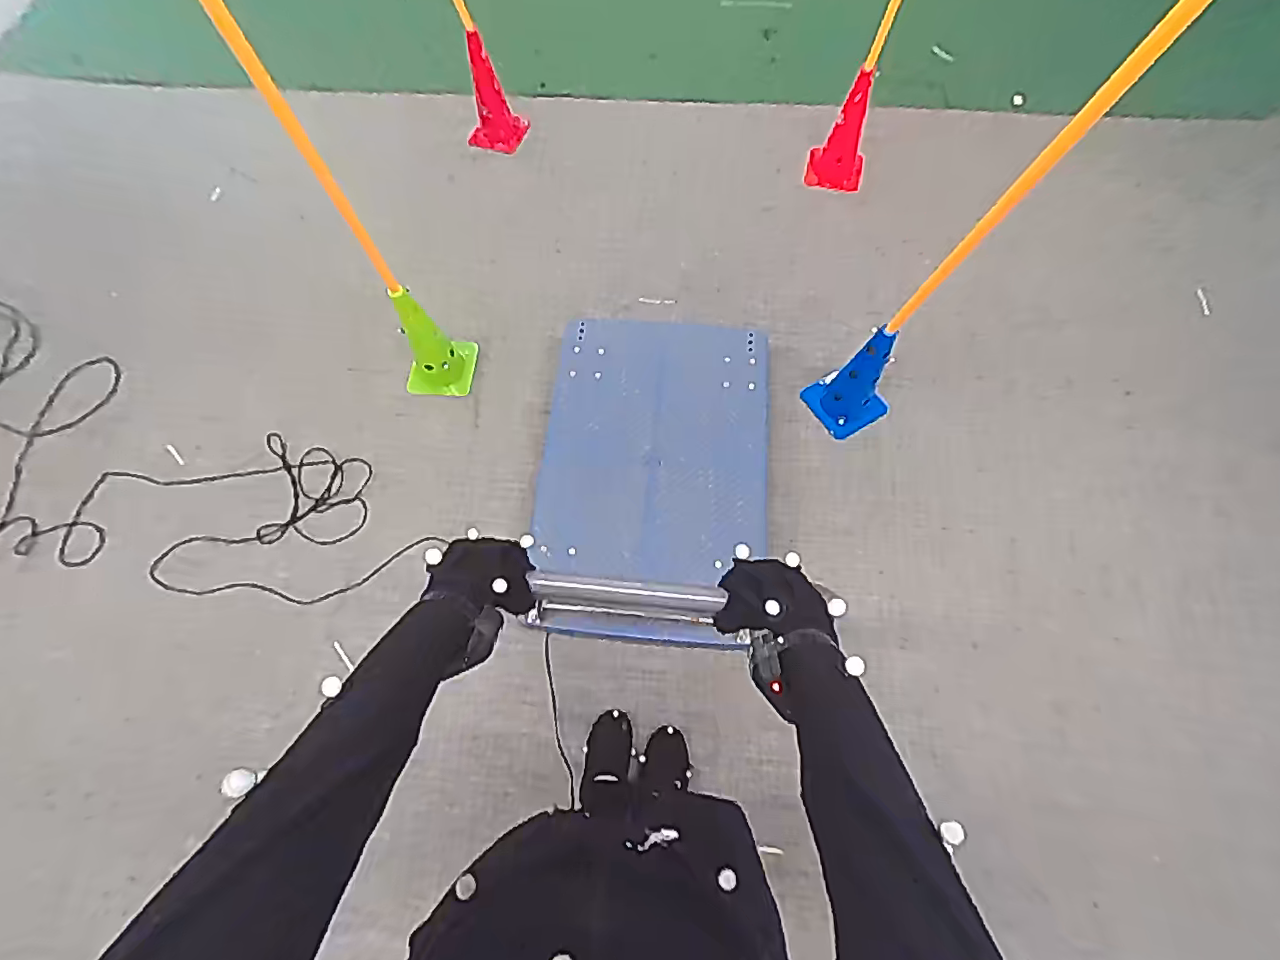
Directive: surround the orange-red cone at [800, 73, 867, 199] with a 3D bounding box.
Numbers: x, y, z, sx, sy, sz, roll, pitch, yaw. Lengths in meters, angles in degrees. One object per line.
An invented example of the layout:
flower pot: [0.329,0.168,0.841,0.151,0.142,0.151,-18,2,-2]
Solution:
orange-red cone: [0.700,-1.191,1.852,0.198,0.360,0.199,14,69,8]
